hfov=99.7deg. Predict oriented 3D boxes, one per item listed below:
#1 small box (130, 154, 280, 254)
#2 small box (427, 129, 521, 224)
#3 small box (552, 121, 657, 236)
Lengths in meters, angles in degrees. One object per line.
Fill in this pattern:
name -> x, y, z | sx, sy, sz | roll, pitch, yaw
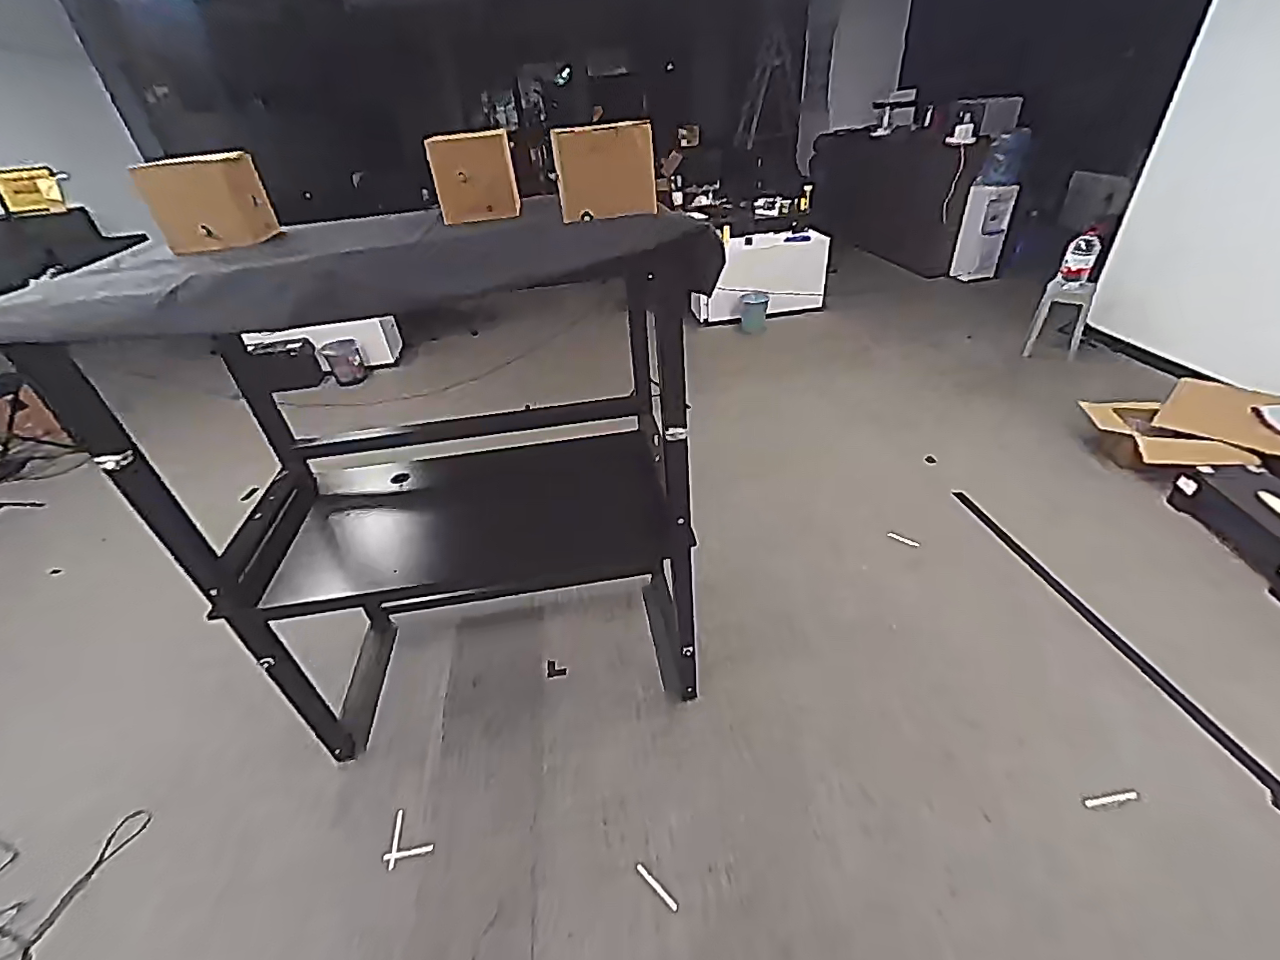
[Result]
small box -> -0.942, -0.611, 1.195 | 0.179, 0.176, 0.168 | -9, 36, -7
small box -> -0.375, -0.701, 1.252 | 0.168, 0.176, 0.179 | -9, 36, -5
small box -> -0.067, -0.572, 1.028 | 0.168, 0.176, 0.179 | -10, 35, -6
